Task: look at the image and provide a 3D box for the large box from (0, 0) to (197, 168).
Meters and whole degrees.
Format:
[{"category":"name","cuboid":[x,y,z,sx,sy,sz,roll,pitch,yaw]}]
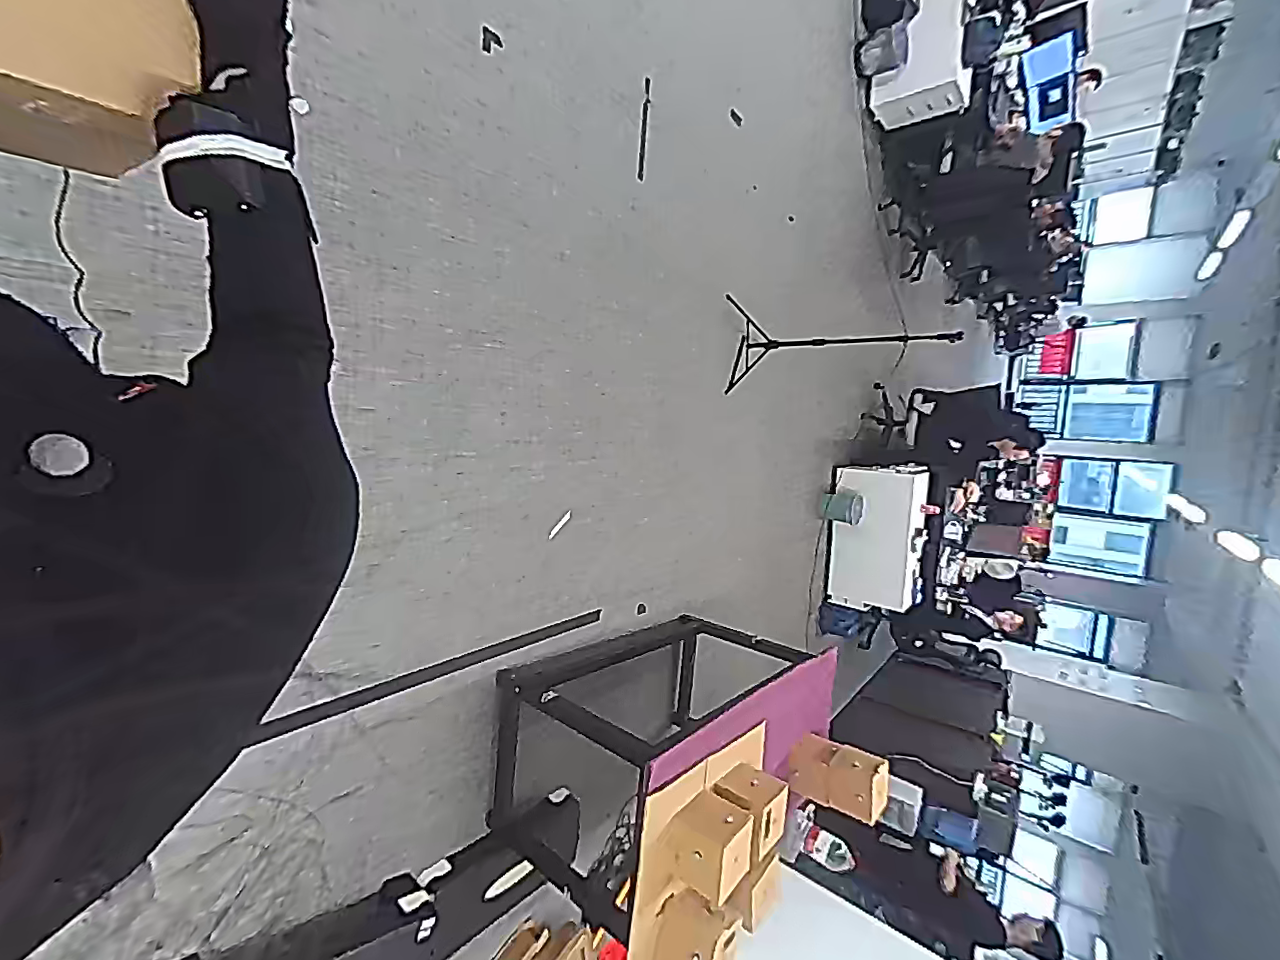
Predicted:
[{"category":"large box","cuboid":[-0.553,-0.420,0.302,0.408,0.320,0.320,-9,112,-52]}]
